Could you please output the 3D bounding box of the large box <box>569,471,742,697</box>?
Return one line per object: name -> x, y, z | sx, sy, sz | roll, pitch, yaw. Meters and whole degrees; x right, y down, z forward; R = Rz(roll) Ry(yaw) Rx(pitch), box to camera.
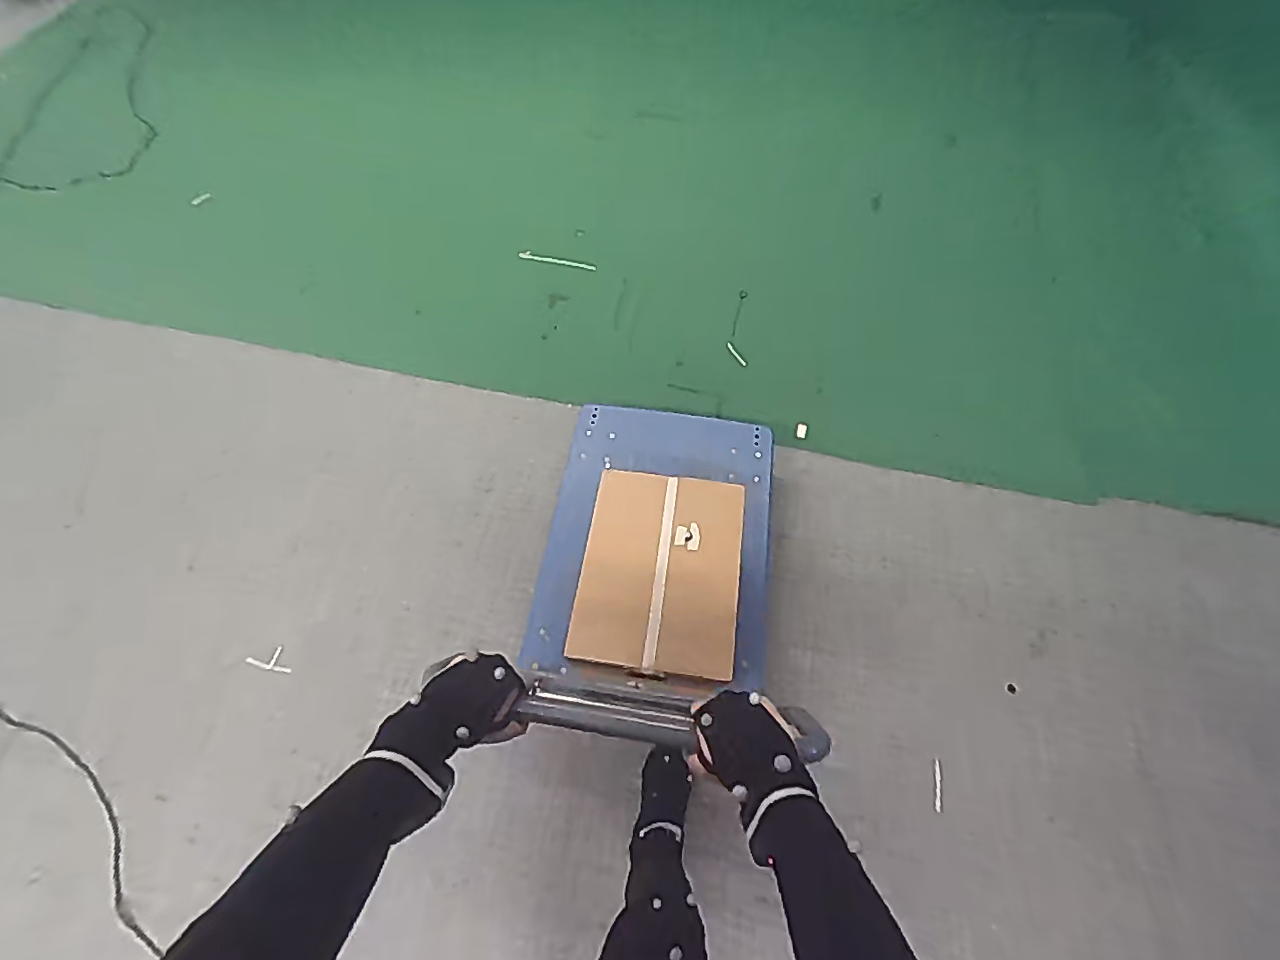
large box -> 0.045, 0.242, 1.215 | 0.320, 0.320, 0.408 | 8, 62, 4
